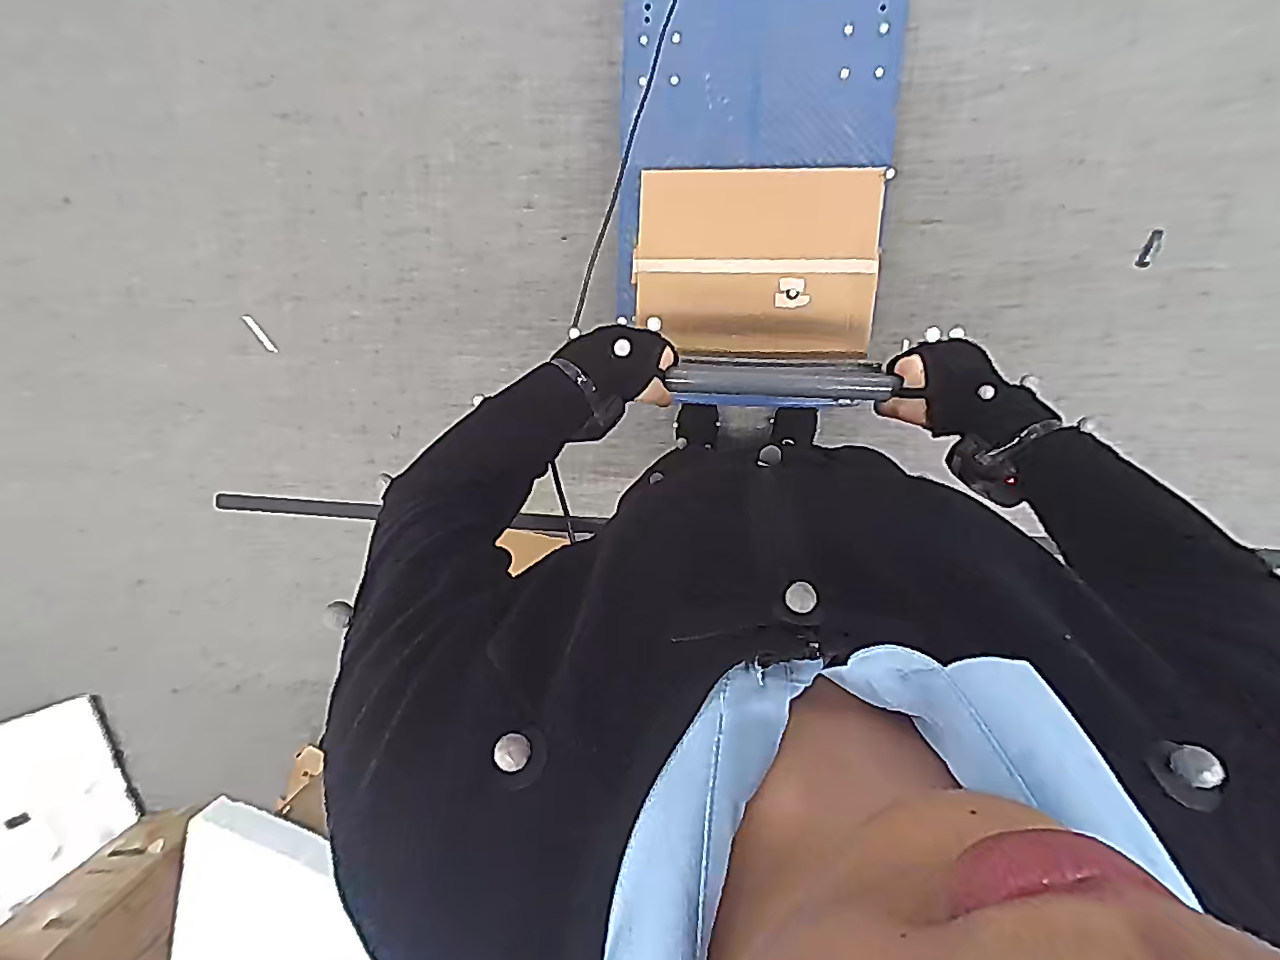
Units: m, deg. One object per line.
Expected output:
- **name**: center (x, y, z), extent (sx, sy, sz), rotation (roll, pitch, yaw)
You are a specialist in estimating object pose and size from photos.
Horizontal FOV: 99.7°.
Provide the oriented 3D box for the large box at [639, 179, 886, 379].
- **large box**: center (0.214, -0.365, 1.064), extent (0.408, 0.320, 0.320), rotation (3, 99, 6)
